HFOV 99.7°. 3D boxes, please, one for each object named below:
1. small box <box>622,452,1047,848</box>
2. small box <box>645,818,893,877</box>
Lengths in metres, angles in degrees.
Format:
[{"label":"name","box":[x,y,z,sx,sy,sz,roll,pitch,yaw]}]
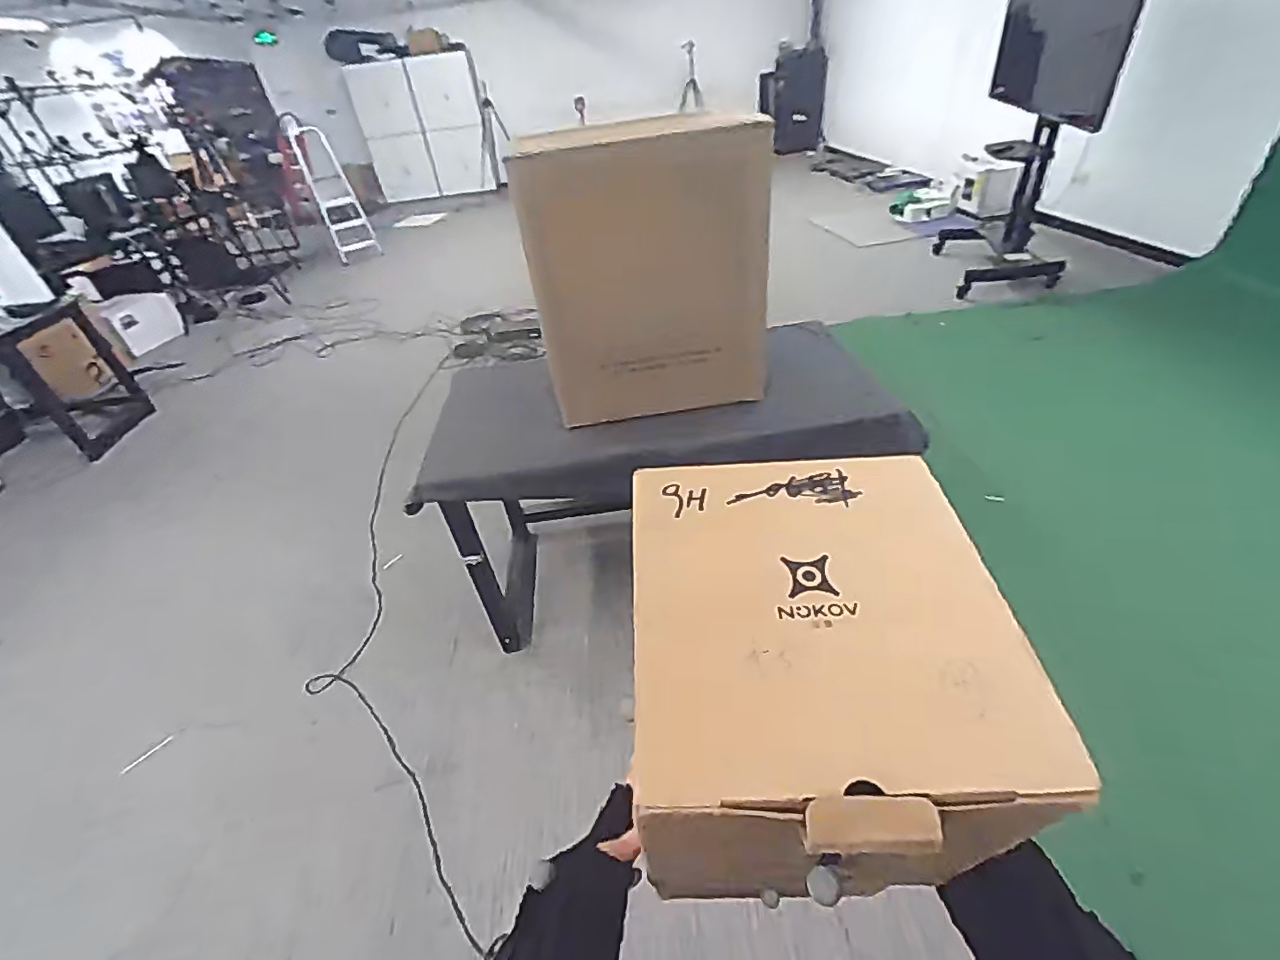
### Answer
[{"label":"small box","box":[0.081,0.106,0.323,0.168,0.176,0.179,-3,47,2]},{"label":"small box","box":[0.095,0.213,0.445,0.179,0.176,0.168,-3,46,3]}]
